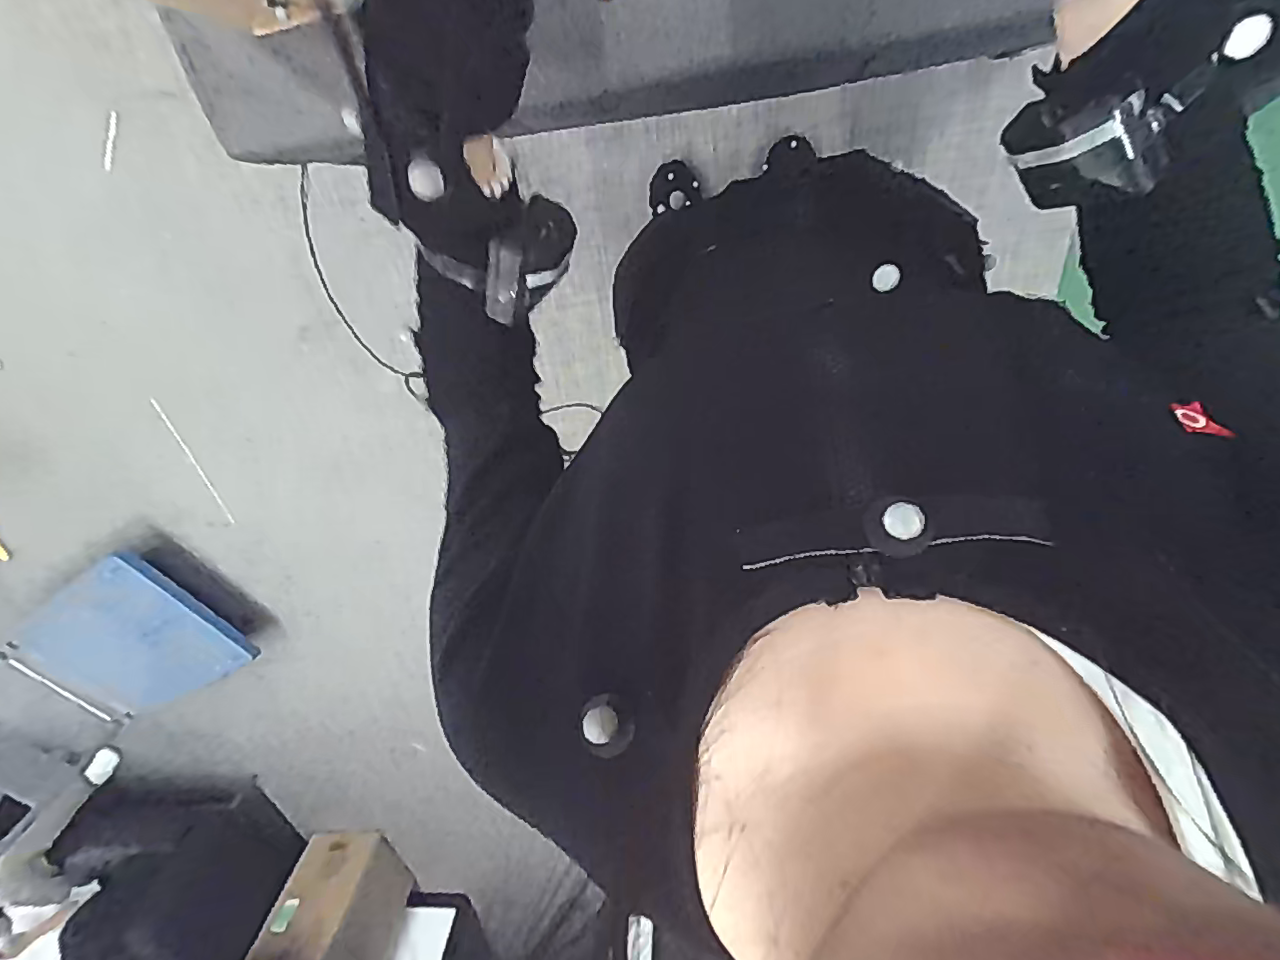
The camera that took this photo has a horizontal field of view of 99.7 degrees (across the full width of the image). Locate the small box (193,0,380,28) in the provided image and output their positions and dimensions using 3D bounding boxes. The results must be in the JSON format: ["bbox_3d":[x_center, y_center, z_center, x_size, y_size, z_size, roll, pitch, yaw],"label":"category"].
[{"bbox_3d":[-0.336,-0.504,0.432,0.168,0.176,0.179,-6,120,9],"label":"small box"}]
